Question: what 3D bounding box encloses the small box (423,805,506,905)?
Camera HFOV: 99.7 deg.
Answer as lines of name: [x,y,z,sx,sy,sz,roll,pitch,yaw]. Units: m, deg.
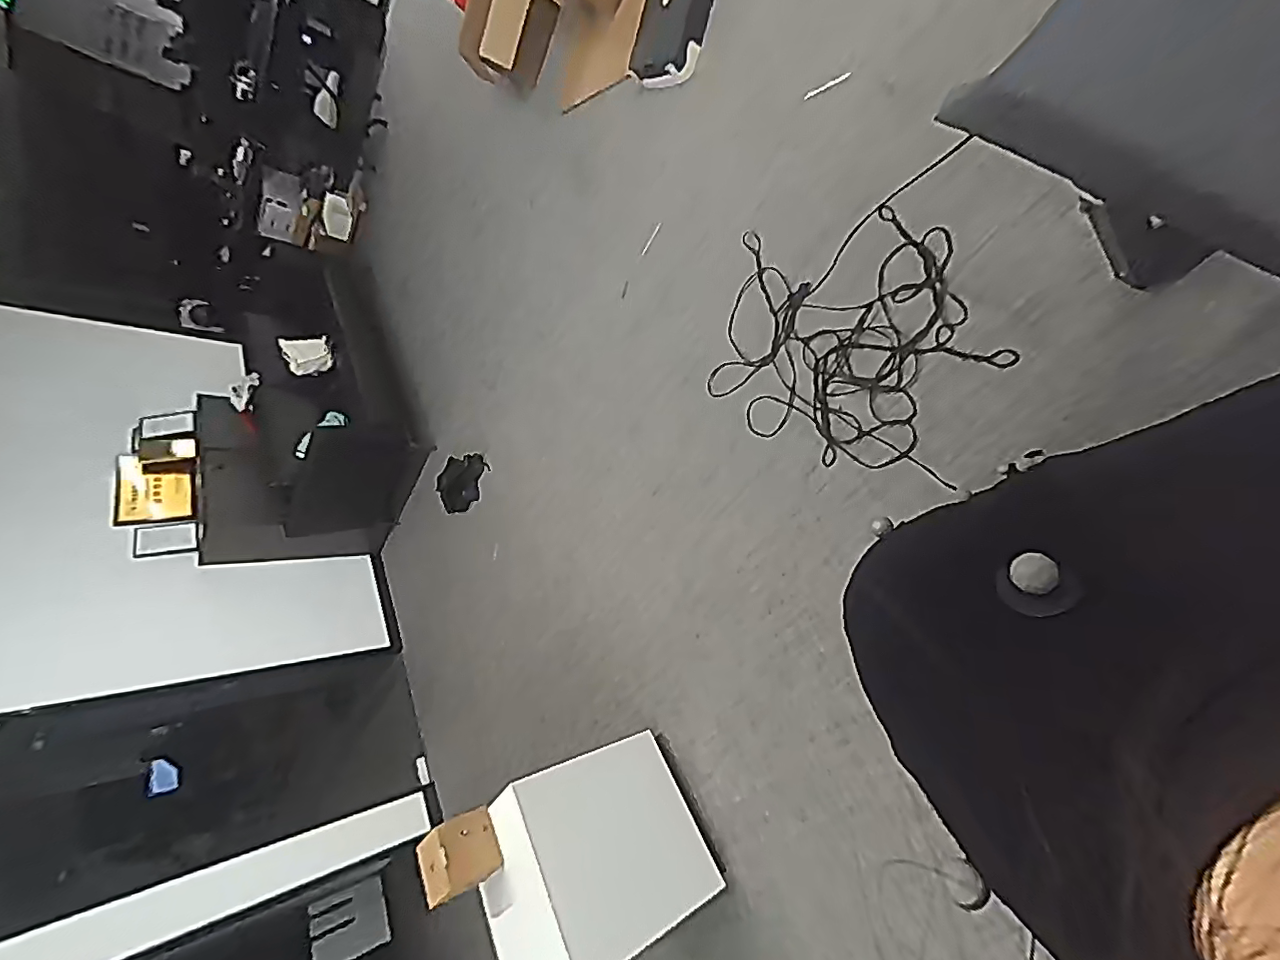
small box: [-0.514,1.099,1.594,0.179,0.176,0.168,-55,51,31]
